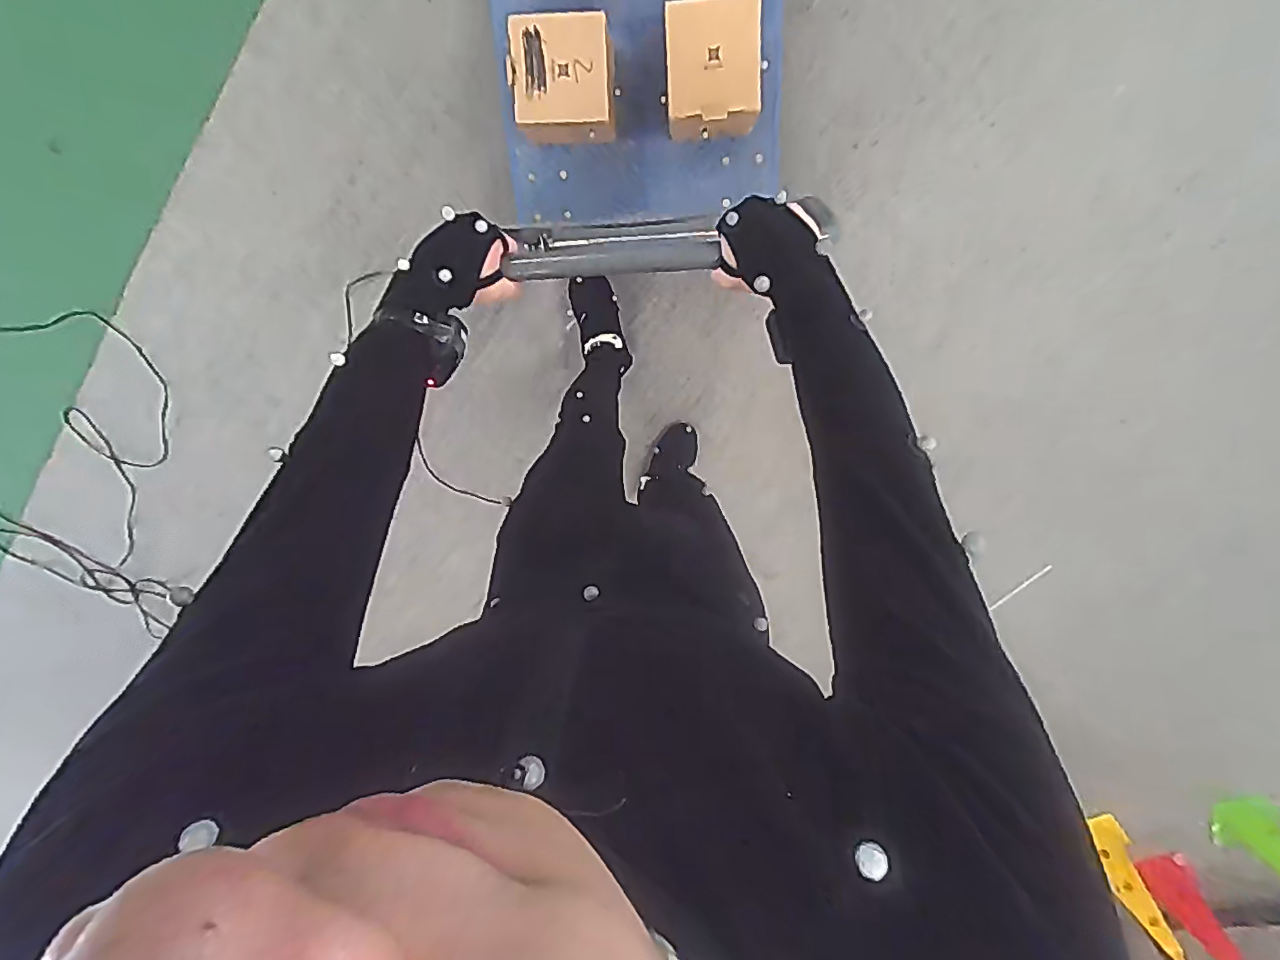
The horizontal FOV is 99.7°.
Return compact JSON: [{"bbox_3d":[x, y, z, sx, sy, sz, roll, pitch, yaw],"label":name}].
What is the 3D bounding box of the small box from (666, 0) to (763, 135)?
[{"bbox_3d":[0.135,-0.776,1.017,0.168,0.176,0.179,-3,111,5],"label":"small box"}]
